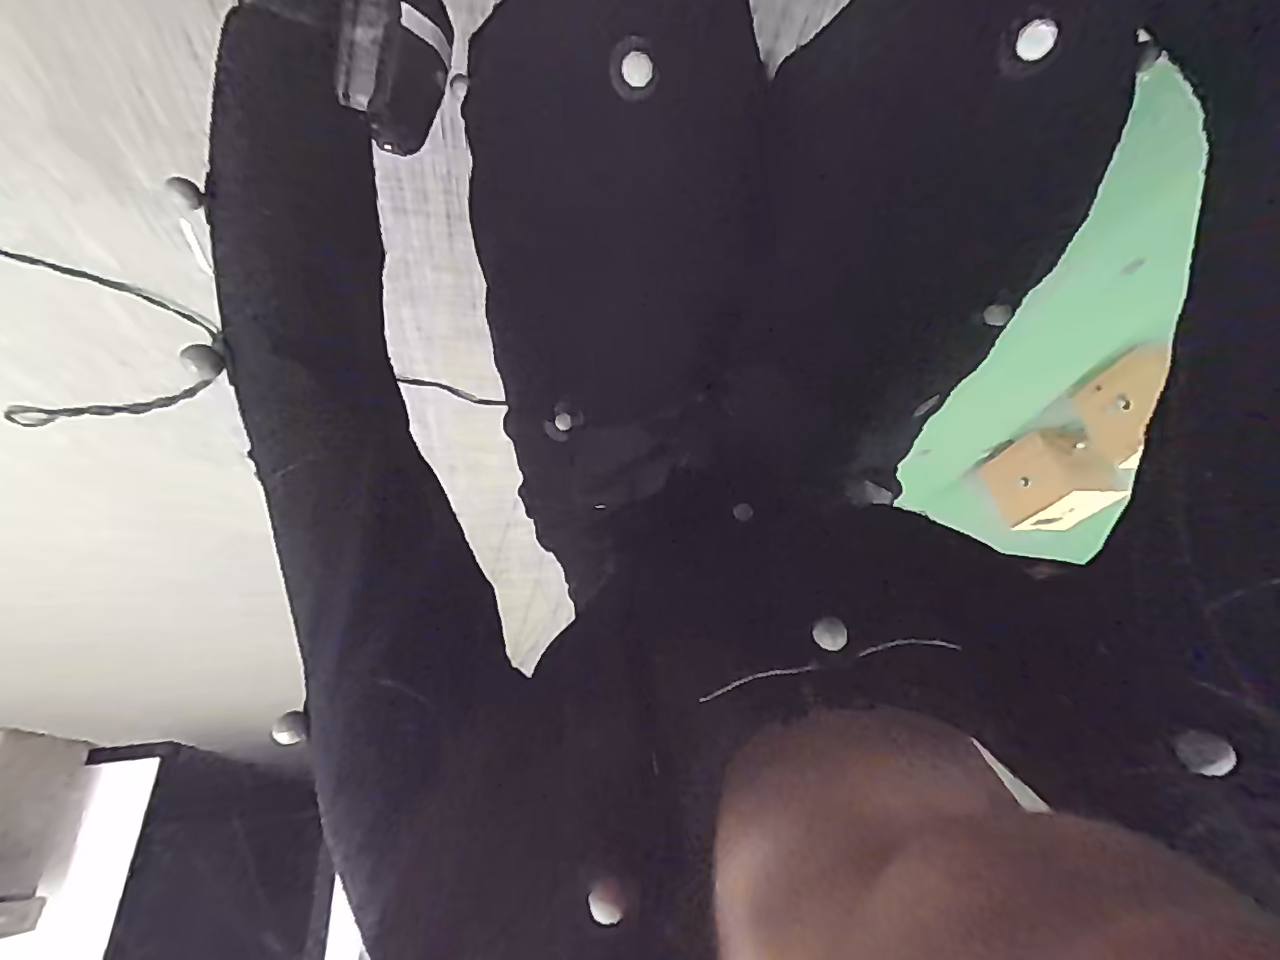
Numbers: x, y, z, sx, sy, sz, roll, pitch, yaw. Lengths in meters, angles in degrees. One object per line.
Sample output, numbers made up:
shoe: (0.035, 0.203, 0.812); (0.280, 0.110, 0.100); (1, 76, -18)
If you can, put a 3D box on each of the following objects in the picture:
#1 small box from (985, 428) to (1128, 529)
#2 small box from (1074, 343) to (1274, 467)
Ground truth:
small box: (0.938, 0.000, 1.243); (0.168, 0.176, 0.179); (0, 148, -14)
small box: (0.986, -0.140, 1.021); (0.179, 0.176, 0.168); (-1, 148, -11)
